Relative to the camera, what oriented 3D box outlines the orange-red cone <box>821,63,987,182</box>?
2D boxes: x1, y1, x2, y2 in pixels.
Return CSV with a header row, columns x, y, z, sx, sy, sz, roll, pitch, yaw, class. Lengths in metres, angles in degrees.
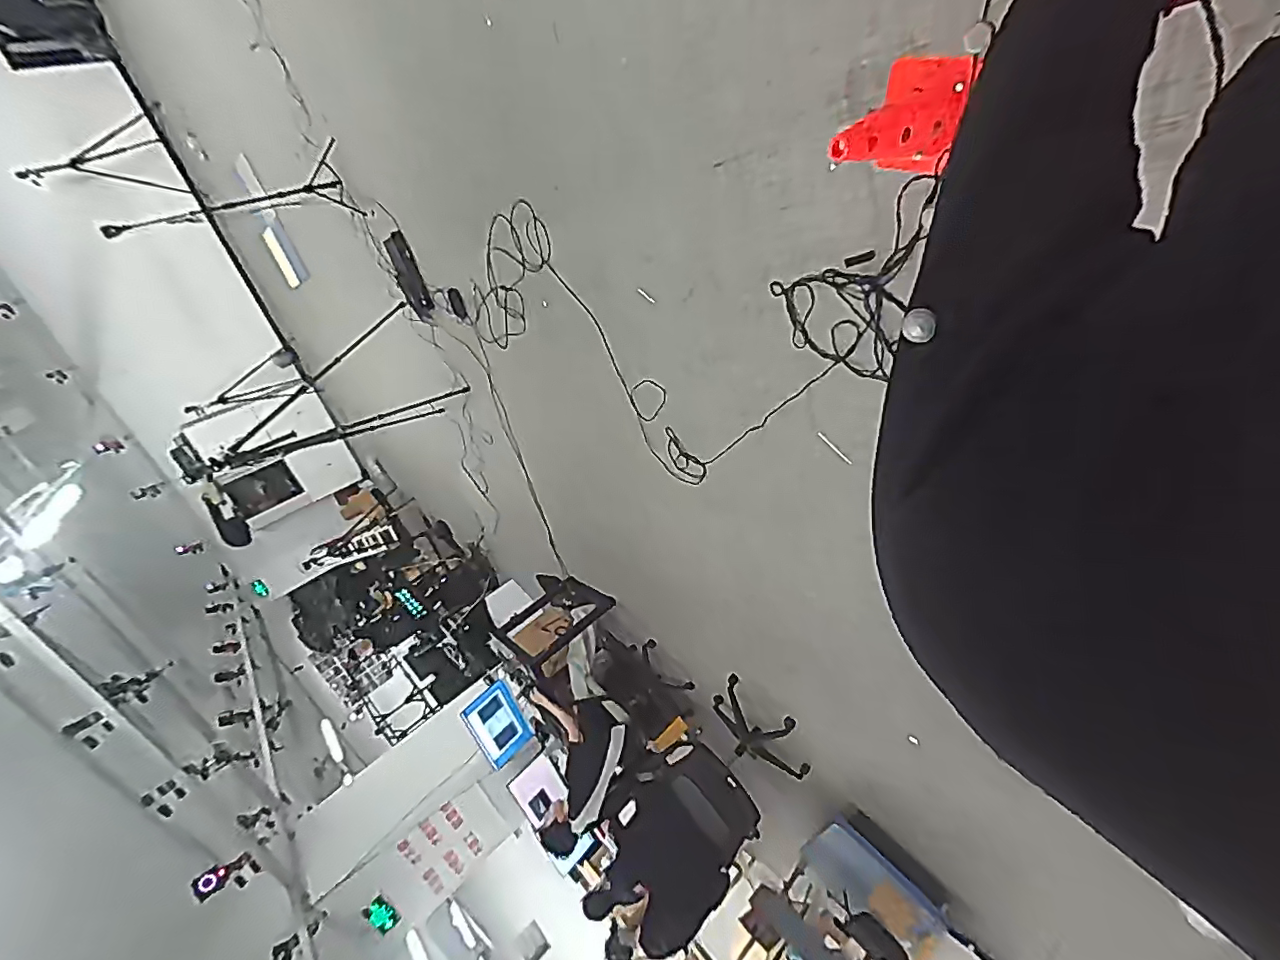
x,y,z,sx,sy,sz,roll,pitch,yaw,class
0.462,-0.664,1.038,0.199,0.360,0.198,36,143,34,orange-red cone
